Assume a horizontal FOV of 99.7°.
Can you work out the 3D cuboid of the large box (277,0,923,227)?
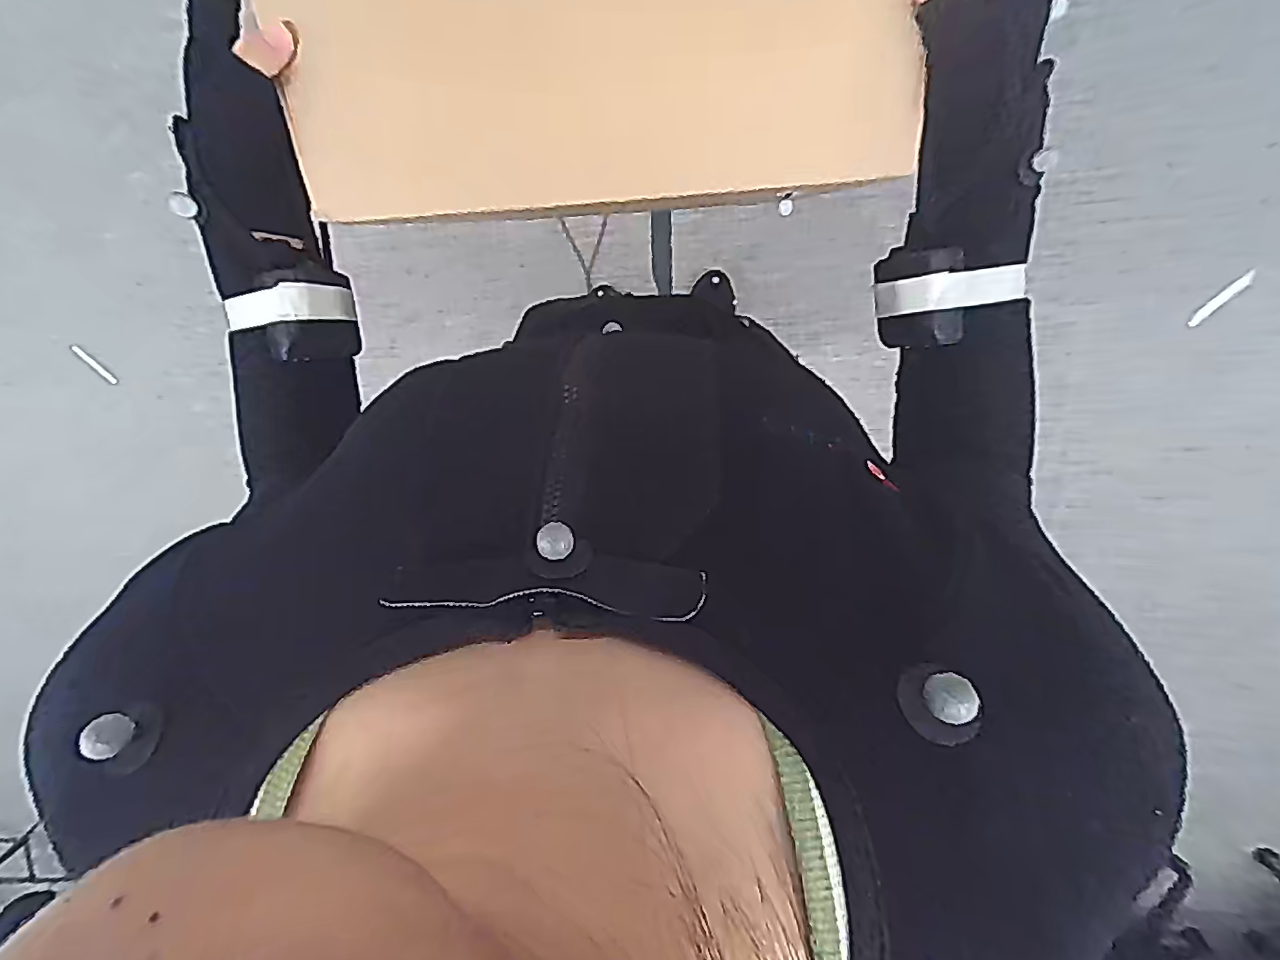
[{"bbox_3d":[-0.021,-0.398,0.446,0.408,0.320,0.320,-2,115,5],"label":"large box"}]
